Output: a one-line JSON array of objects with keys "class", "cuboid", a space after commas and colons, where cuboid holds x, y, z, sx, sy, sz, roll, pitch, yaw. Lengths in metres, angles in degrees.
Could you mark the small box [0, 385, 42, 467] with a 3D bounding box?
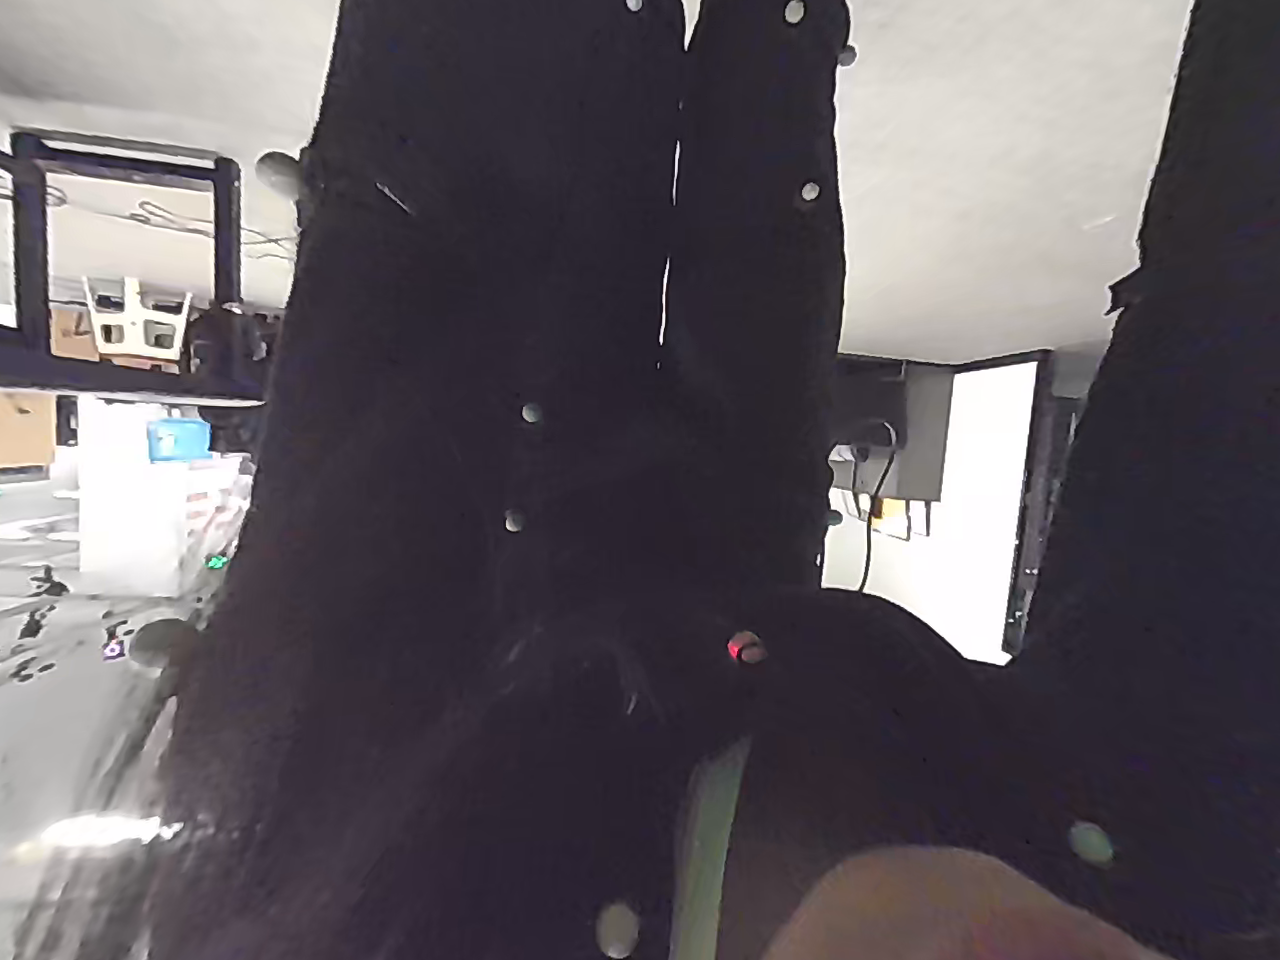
[{"class": "small box", "cuboid": [-1.376, -0.116, 1.090, 0.179, 0.176, 0.168, 4, -175, -10]}]
